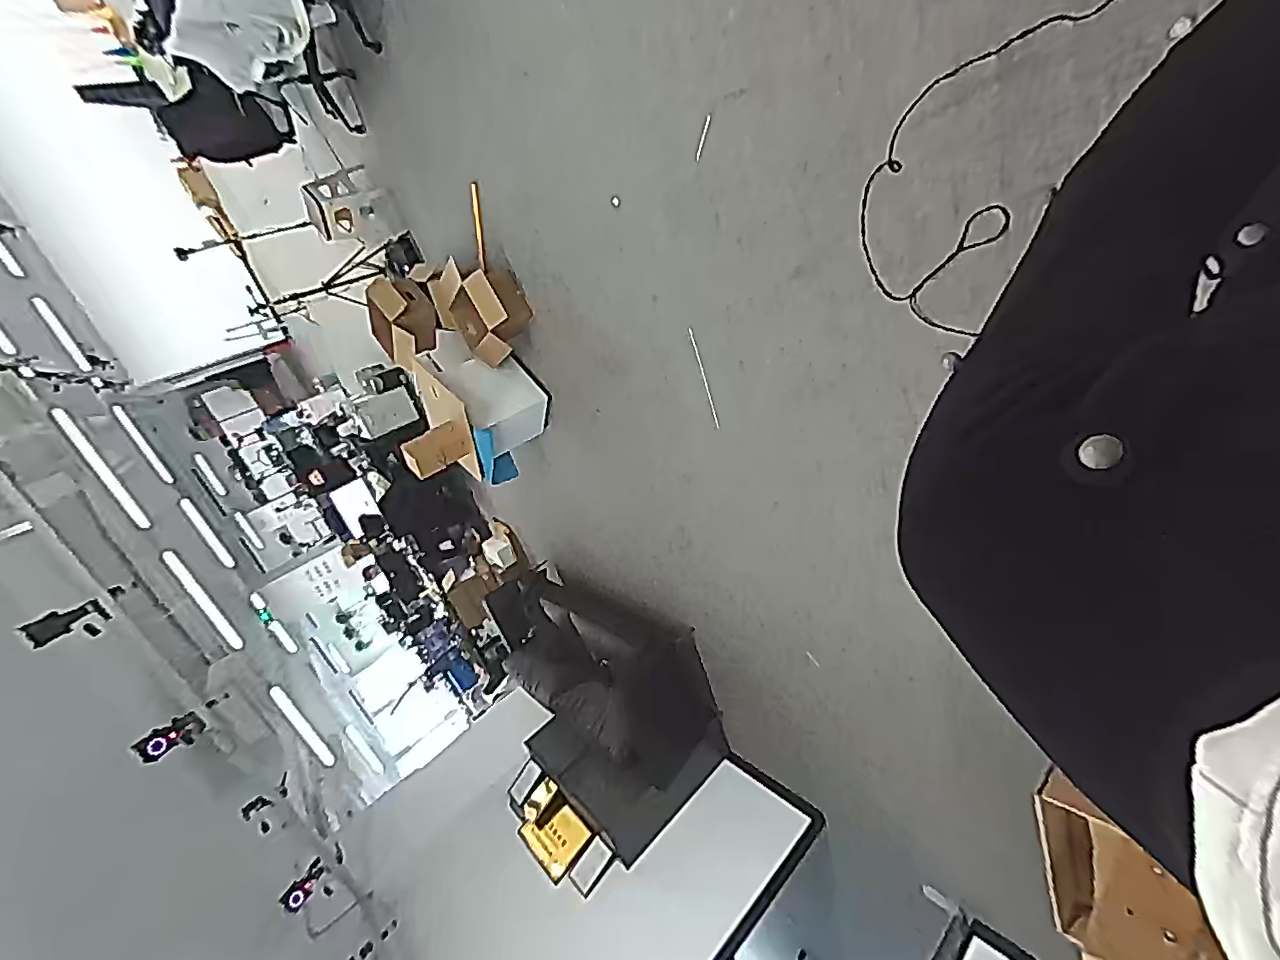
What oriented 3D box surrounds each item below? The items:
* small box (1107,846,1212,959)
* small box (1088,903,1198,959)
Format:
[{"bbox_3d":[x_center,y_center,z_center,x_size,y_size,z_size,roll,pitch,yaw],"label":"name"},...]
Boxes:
[{"bbox_3d":[1.295,1.075,1.347,0.168,0.176,0.179,6,124,52],"label":"small box"},{"bbox_3d":[1.178,1.155,1.264,0.168,0.176,0.179,4,123,54],"label":"small box"}]
